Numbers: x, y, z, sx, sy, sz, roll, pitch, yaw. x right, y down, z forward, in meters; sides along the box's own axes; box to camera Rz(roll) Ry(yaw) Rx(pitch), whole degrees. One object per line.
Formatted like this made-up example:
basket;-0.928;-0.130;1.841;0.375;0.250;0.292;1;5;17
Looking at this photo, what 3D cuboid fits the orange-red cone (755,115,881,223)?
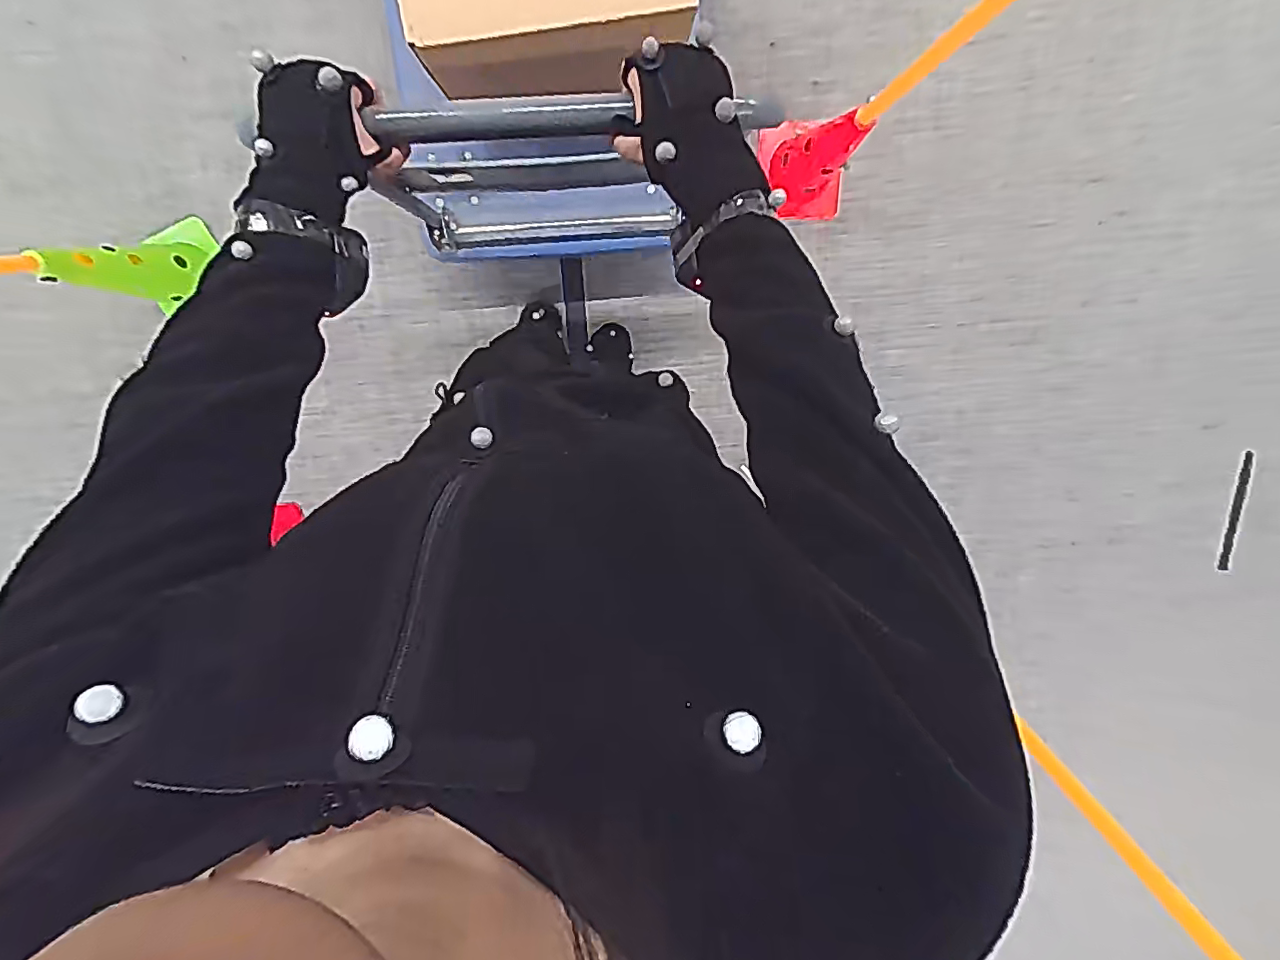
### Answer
orange-red cone;0.382;-0.651;1.079;0.199;0.360;0.198;2;107;-4
